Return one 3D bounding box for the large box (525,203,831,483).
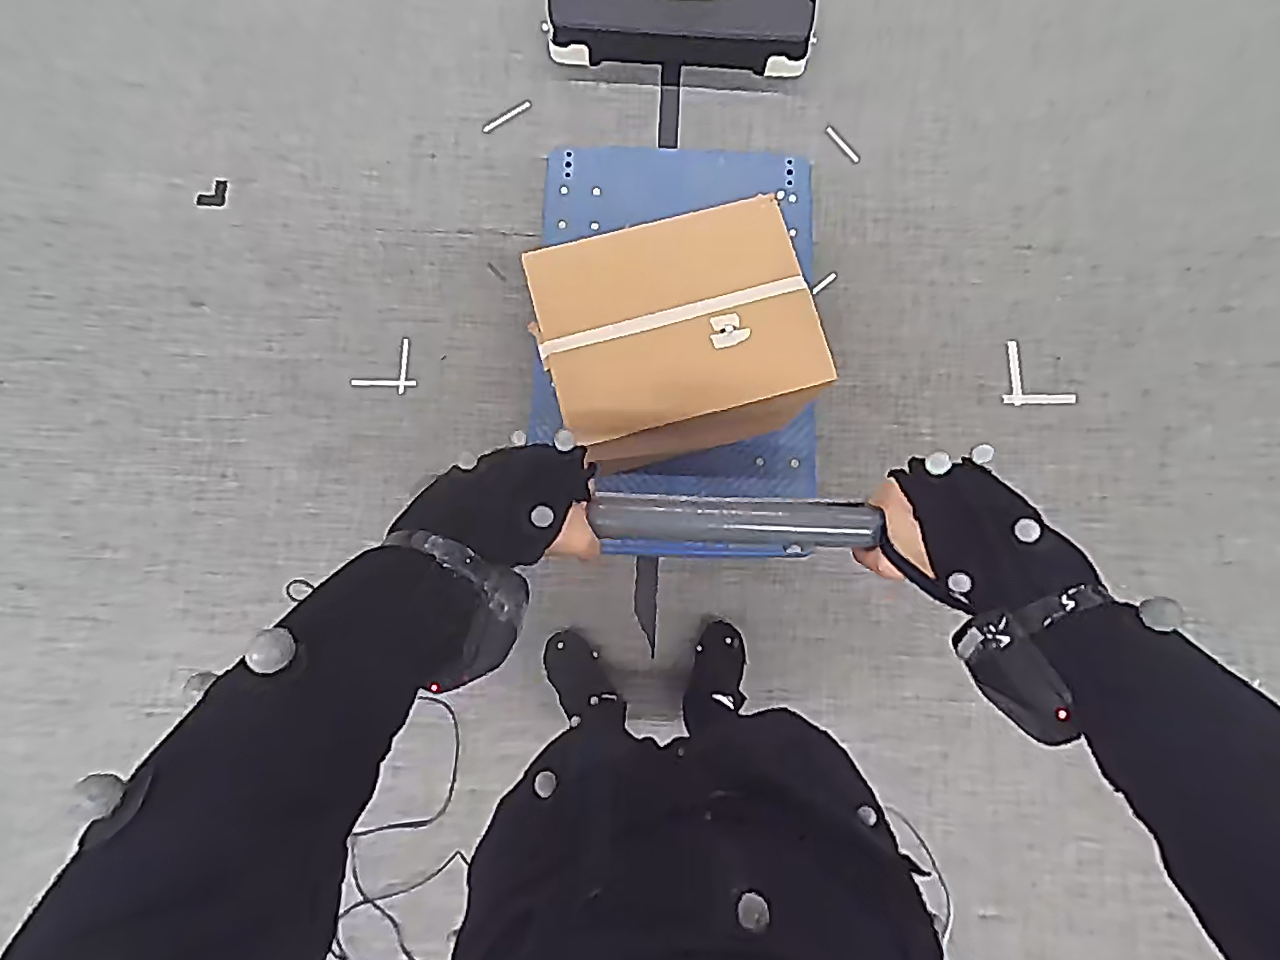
[{"bbox_3d":[0.050,-0.212,0.958,0.408,0.320,0.320,-15,82,-4],"label":"large box"}]
